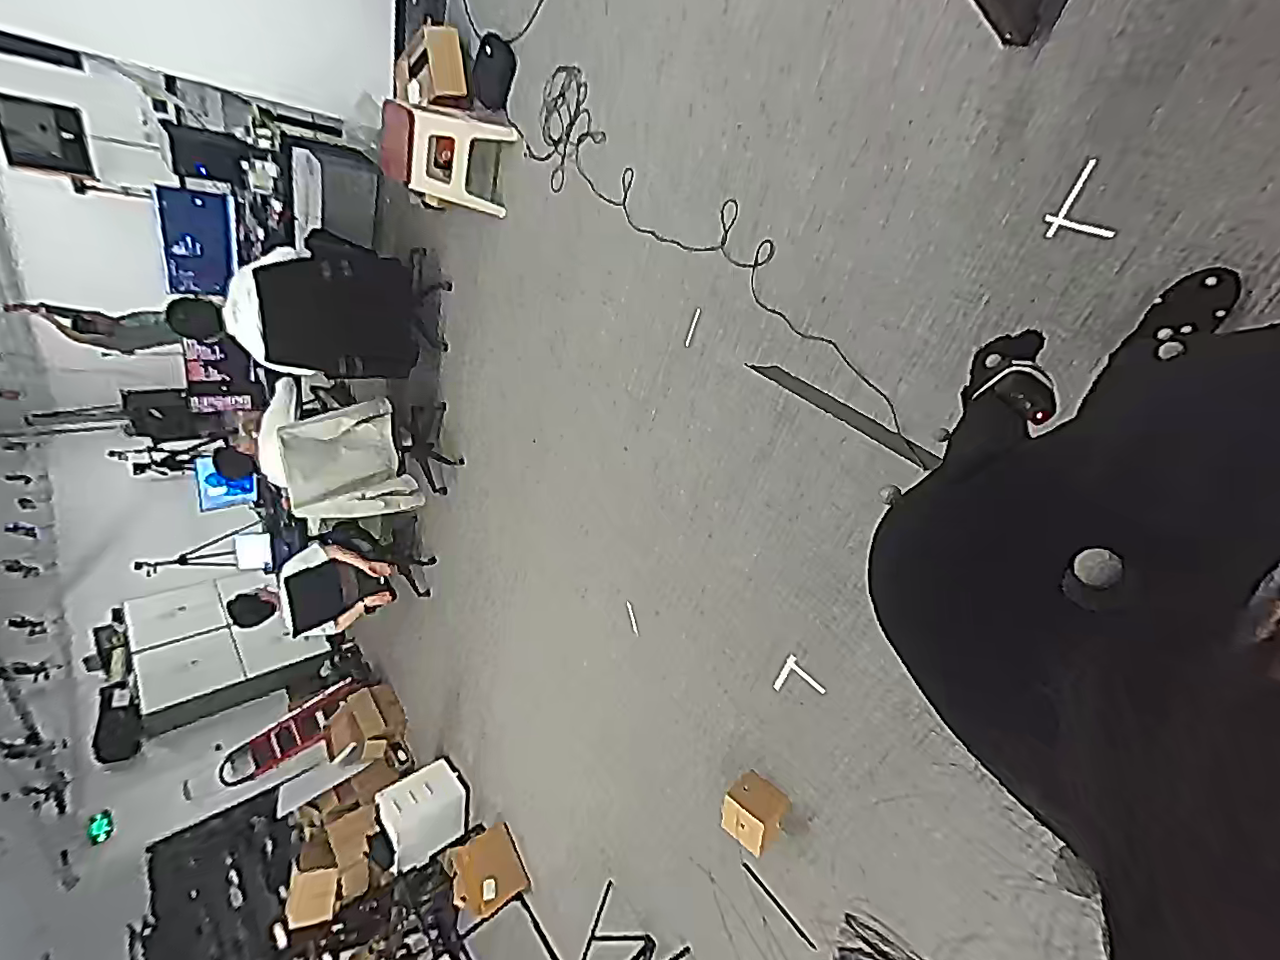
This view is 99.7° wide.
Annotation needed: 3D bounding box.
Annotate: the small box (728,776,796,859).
[{"bbox_3d":[0.456,1.249,2.020,0.179,0.176,0.168,19,114,42],"label":"small box"}]
